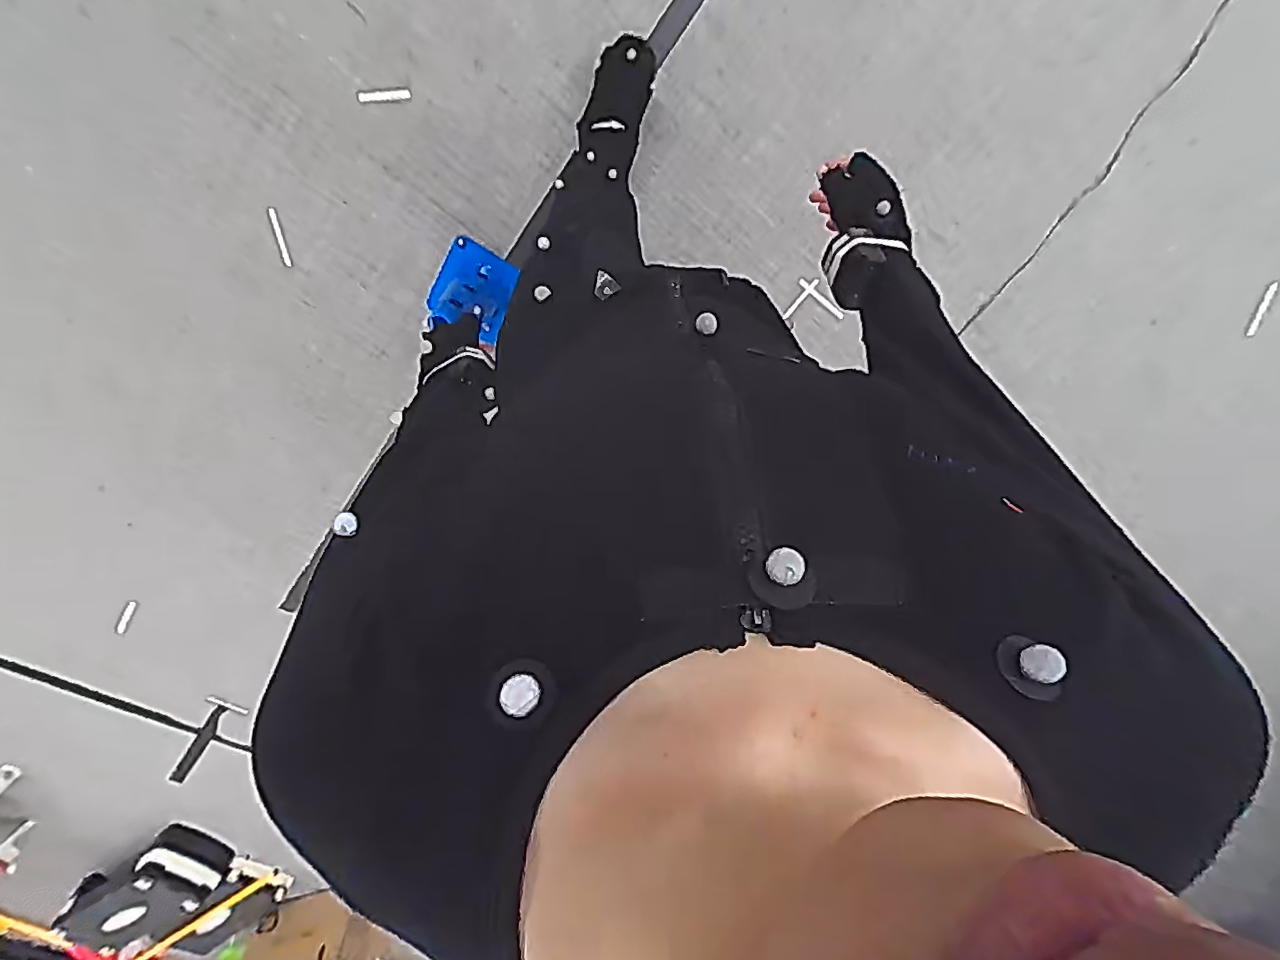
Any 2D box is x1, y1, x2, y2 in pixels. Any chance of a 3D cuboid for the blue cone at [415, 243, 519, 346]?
[{"bbox_3d":[-0.395,-0.369,1.158,0.192,0.380,0.193,31,111,-17],"label":"blue cone"}]
